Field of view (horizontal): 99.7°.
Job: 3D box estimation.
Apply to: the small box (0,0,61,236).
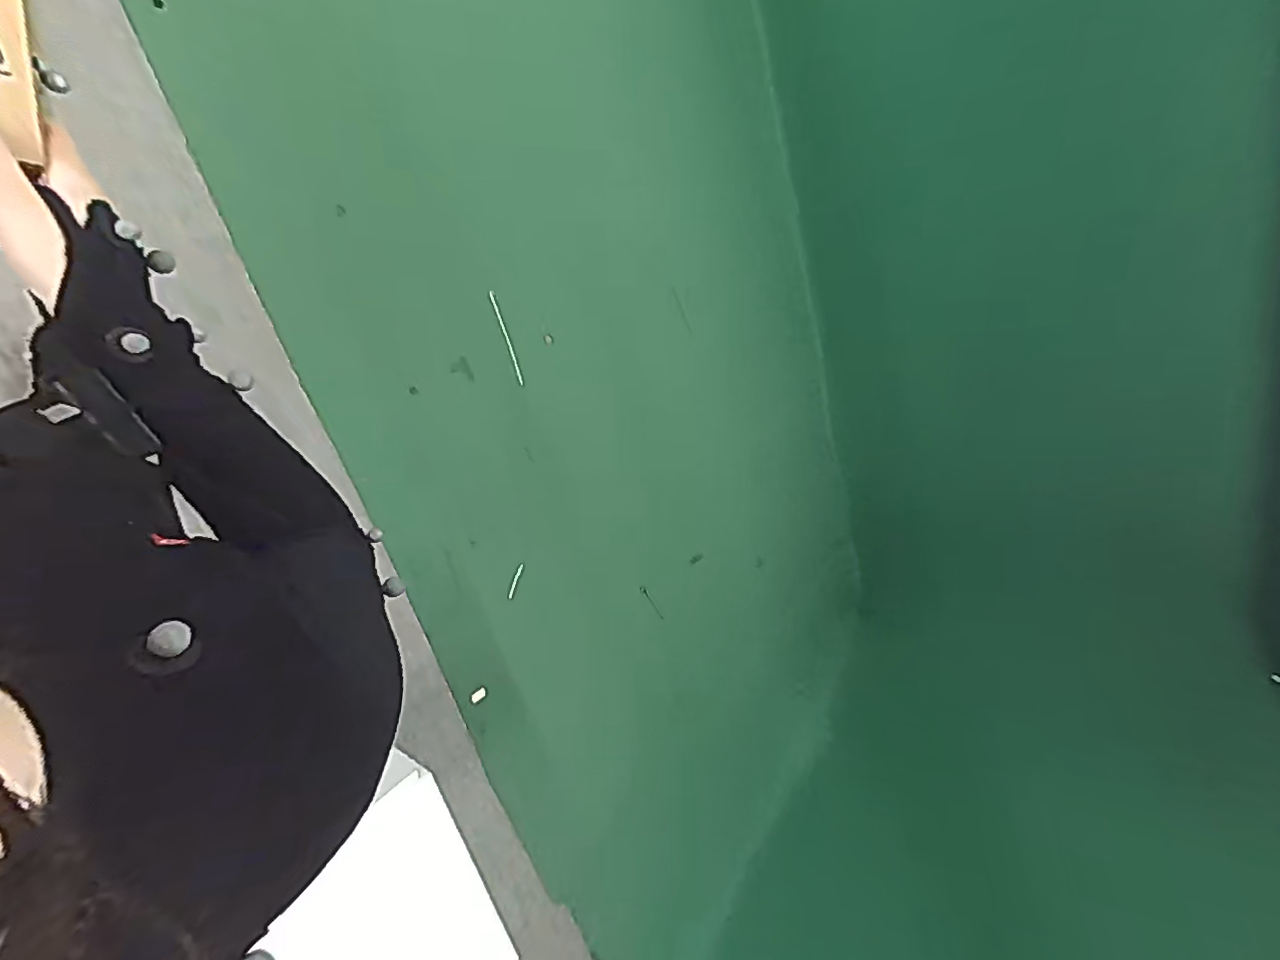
[{"bbox_3d":[-0.479,-0.263,0.311,0.179,0.176,0.168,-7,94,-43],"label":"small box"}]
